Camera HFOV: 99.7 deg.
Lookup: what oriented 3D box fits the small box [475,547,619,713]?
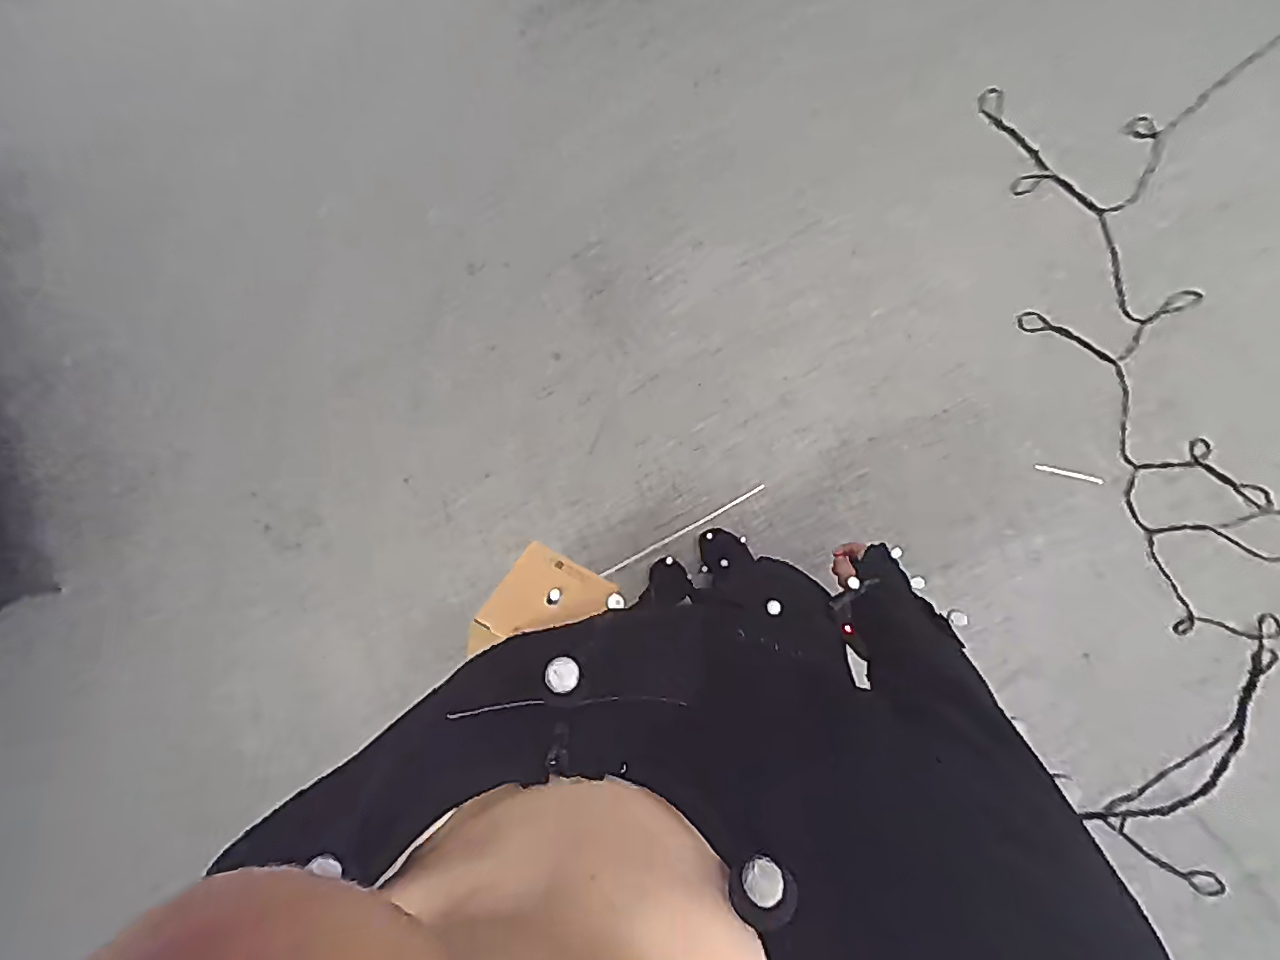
[{"bbox_3d":[-0.150,0.243,0.893,0.168,0.179,0.176,27,45,5],"label":"small box"}]
